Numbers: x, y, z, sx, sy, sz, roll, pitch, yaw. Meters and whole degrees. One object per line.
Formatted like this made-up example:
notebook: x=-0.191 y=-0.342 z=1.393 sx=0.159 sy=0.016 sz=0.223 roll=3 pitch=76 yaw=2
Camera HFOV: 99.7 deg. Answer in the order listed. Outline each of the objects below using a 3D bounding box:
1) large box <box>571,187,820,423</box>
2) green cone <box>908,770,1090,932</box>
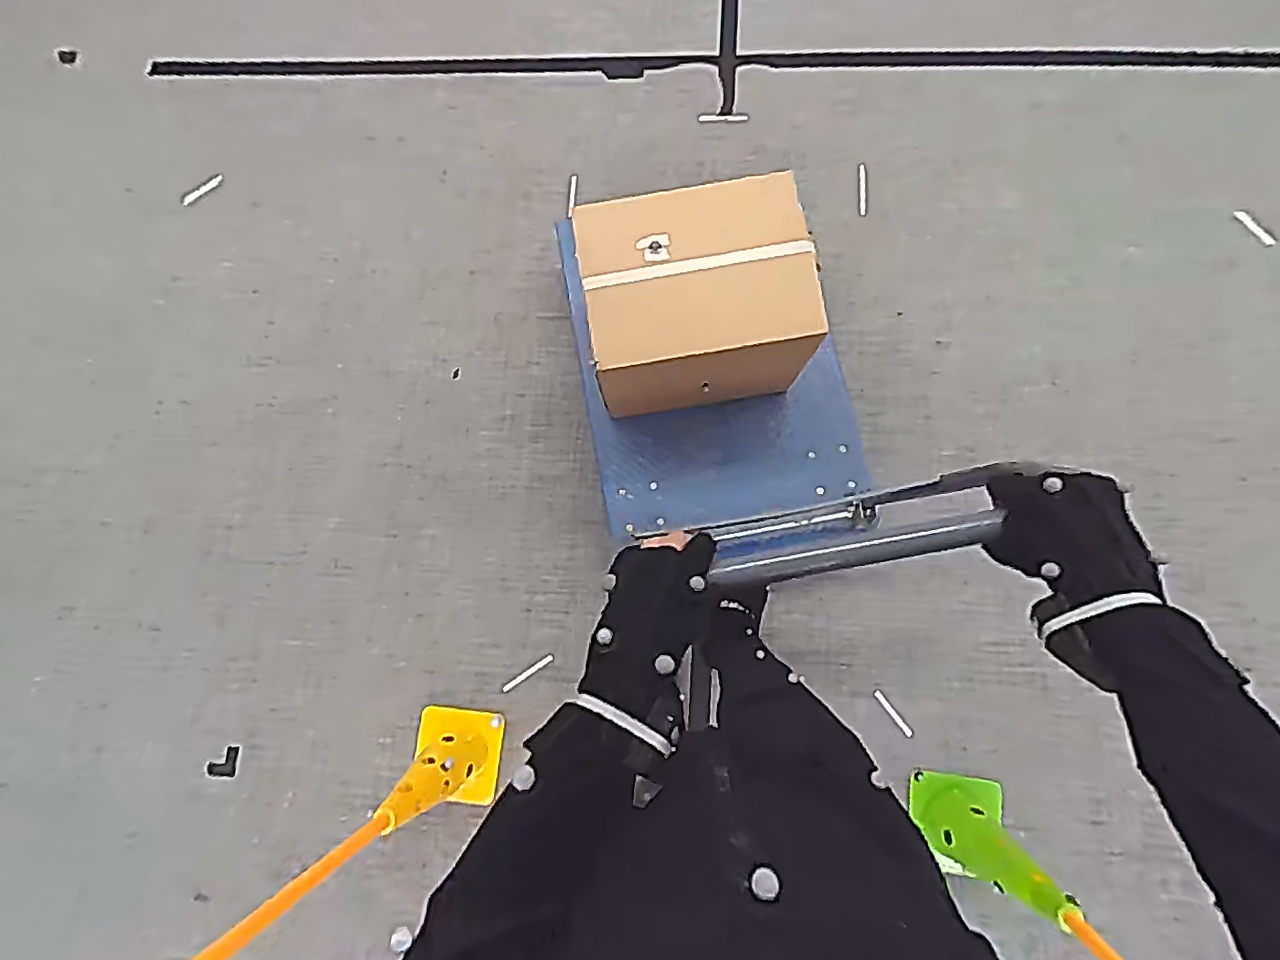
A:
large box: x=0.101 y=-0.328 z=1.105 sx=0.408 sy=0.320 sz=0.320 roll=-10 pitch=81 yaw=2
green cone: x=0.695 y=0.733 z=1.034 sx=0.202 sy=0.368 sz=0.200 roll=6 pitch=80 yaw=3
